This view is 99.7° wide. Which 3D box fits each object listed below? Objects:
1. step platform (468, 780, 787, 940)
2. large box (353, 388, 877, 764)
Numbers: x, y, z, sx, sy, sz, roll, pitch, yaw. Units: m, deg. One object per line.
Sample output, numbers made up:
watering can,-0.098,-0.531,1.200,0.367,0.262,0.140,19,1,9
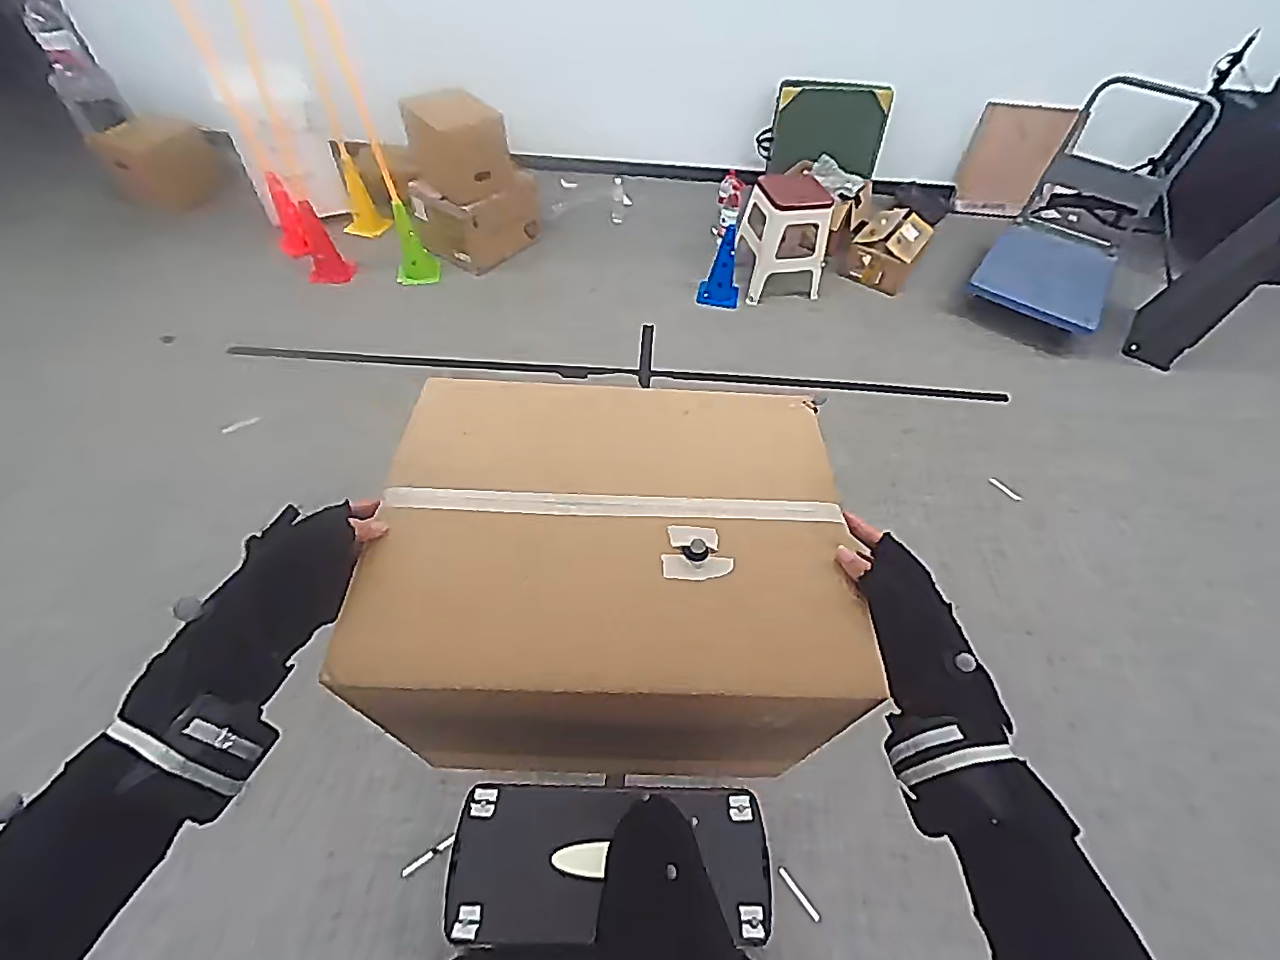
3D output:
step platform,-0.026,0.841,1.209,0.684,0.204,0.286,2,52,-3
large box,-0.025,0.120,0.609,0.408,0.320,0.320,3,53,-3
